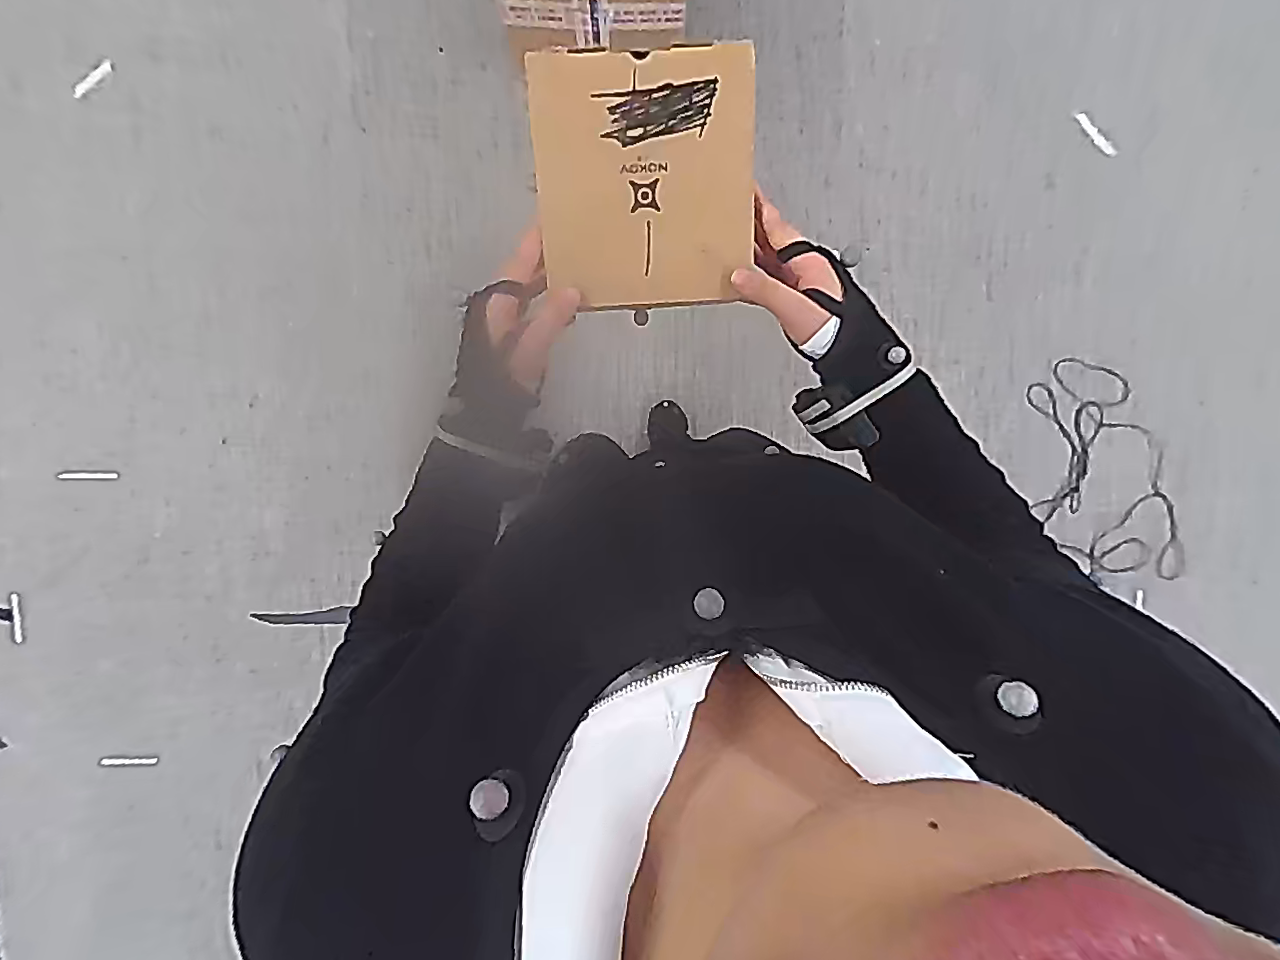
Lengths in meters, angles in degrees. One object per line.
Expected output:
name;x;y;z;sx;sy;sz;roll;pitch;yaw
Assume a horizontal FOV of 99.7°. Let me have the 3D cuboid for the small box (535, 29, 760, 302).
small box;0.006;-0.258;0.485;0.168;0.176;0.179;-3;107;0
